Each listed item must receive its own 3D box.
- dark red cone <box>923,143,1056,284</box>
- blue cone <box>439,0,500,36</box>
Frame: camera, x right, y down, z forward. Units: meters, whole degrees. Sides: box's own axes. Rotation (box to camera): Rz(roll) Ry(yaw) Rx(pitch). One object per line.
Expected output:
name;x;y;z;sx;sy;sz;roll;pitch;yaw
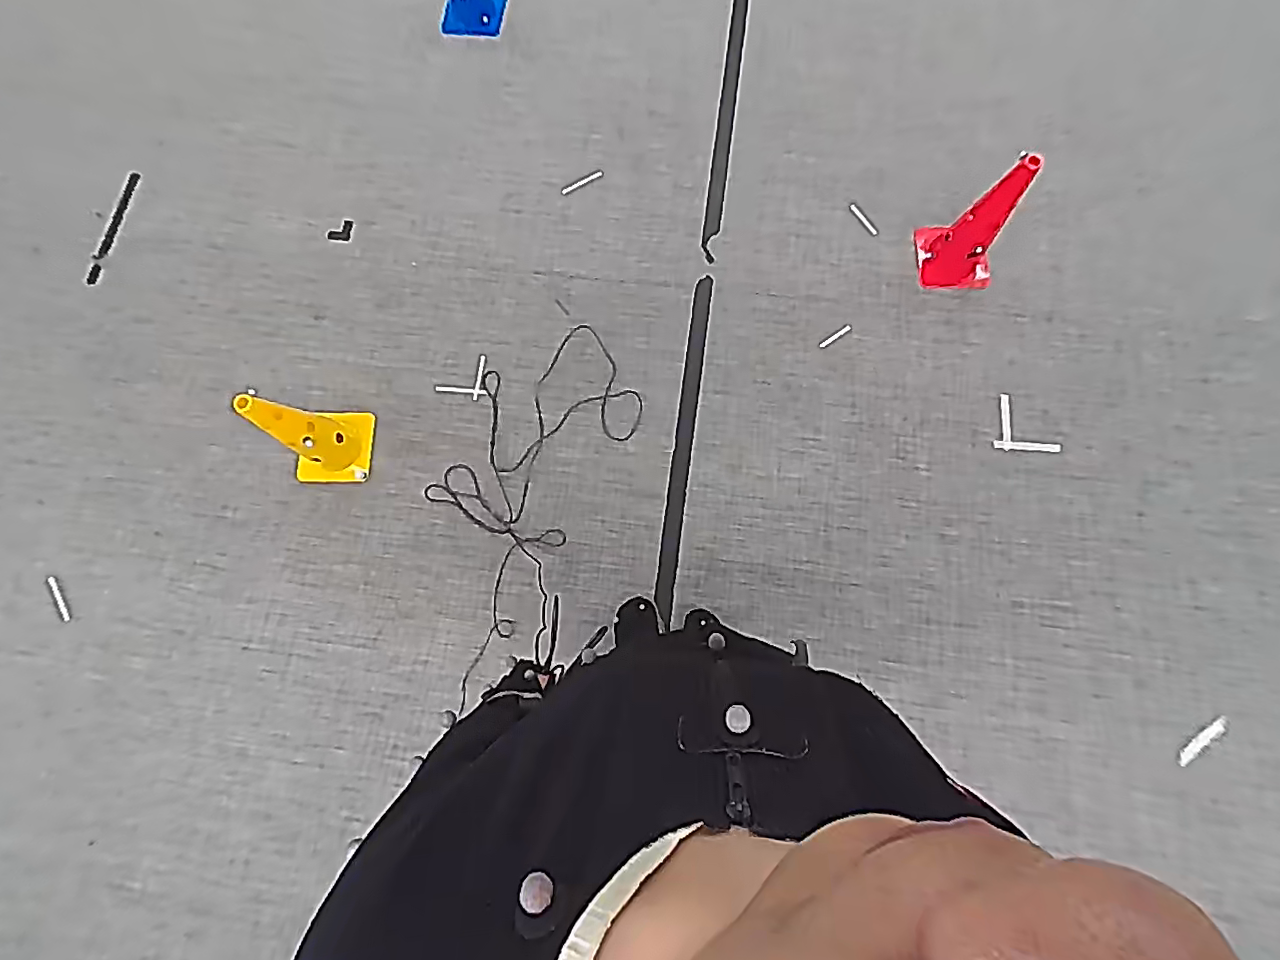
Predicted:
dark red cone;0.897;-0.680;1.364;0.201;0.394;0.202;-1;77;3
blue cone;-0.578;-1.597;1.648;0.192;0.380;0.193;7;78;5
